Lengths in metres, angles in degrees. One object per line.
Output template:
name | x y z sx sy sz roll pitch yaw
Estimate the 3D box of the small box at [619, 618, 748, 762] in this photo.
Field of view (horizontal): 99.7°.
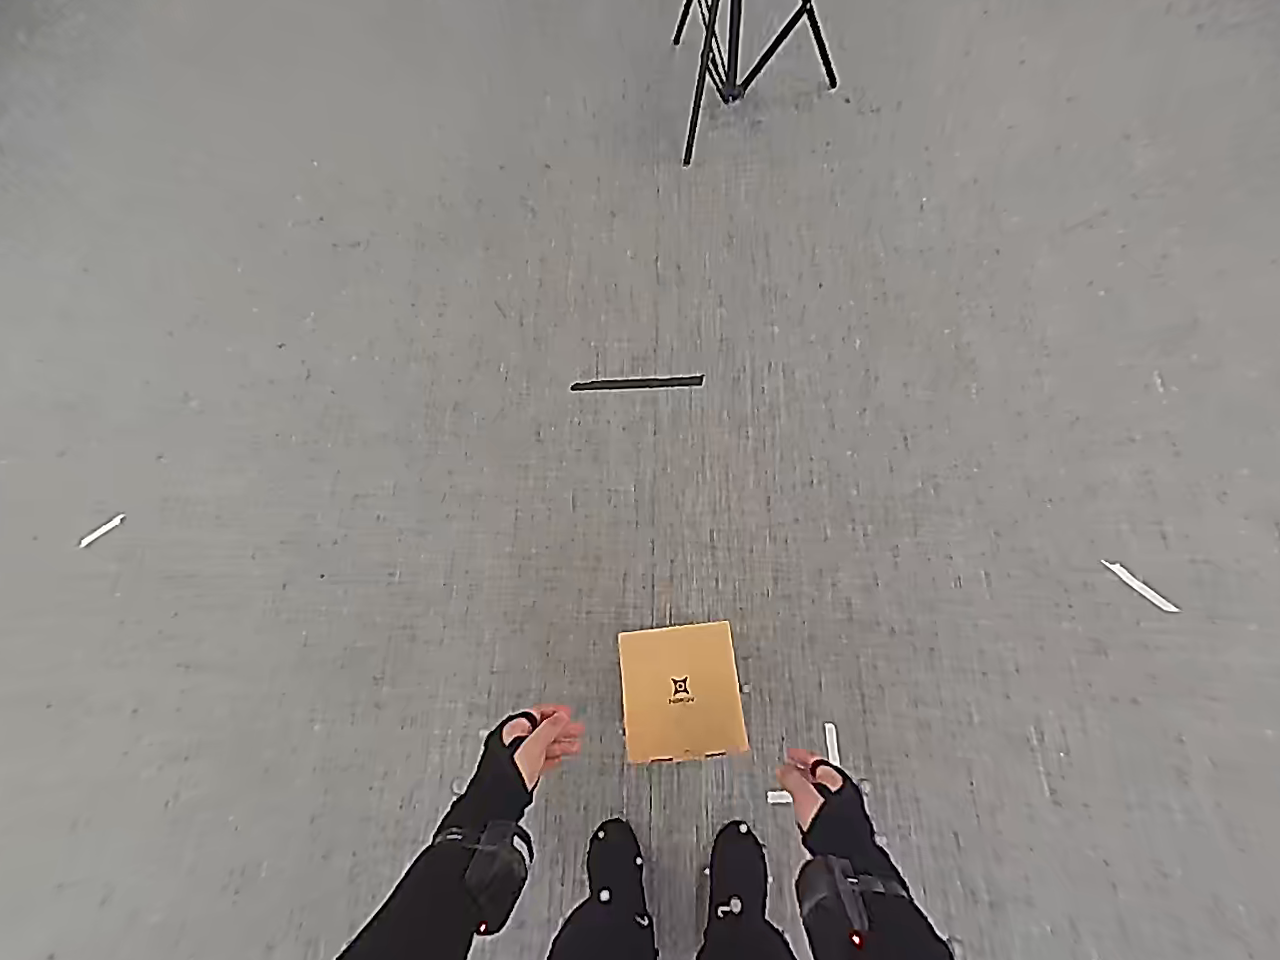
small box | 0.063 0.318 0.826 0.168 0.176 0.179 -8 69 3
